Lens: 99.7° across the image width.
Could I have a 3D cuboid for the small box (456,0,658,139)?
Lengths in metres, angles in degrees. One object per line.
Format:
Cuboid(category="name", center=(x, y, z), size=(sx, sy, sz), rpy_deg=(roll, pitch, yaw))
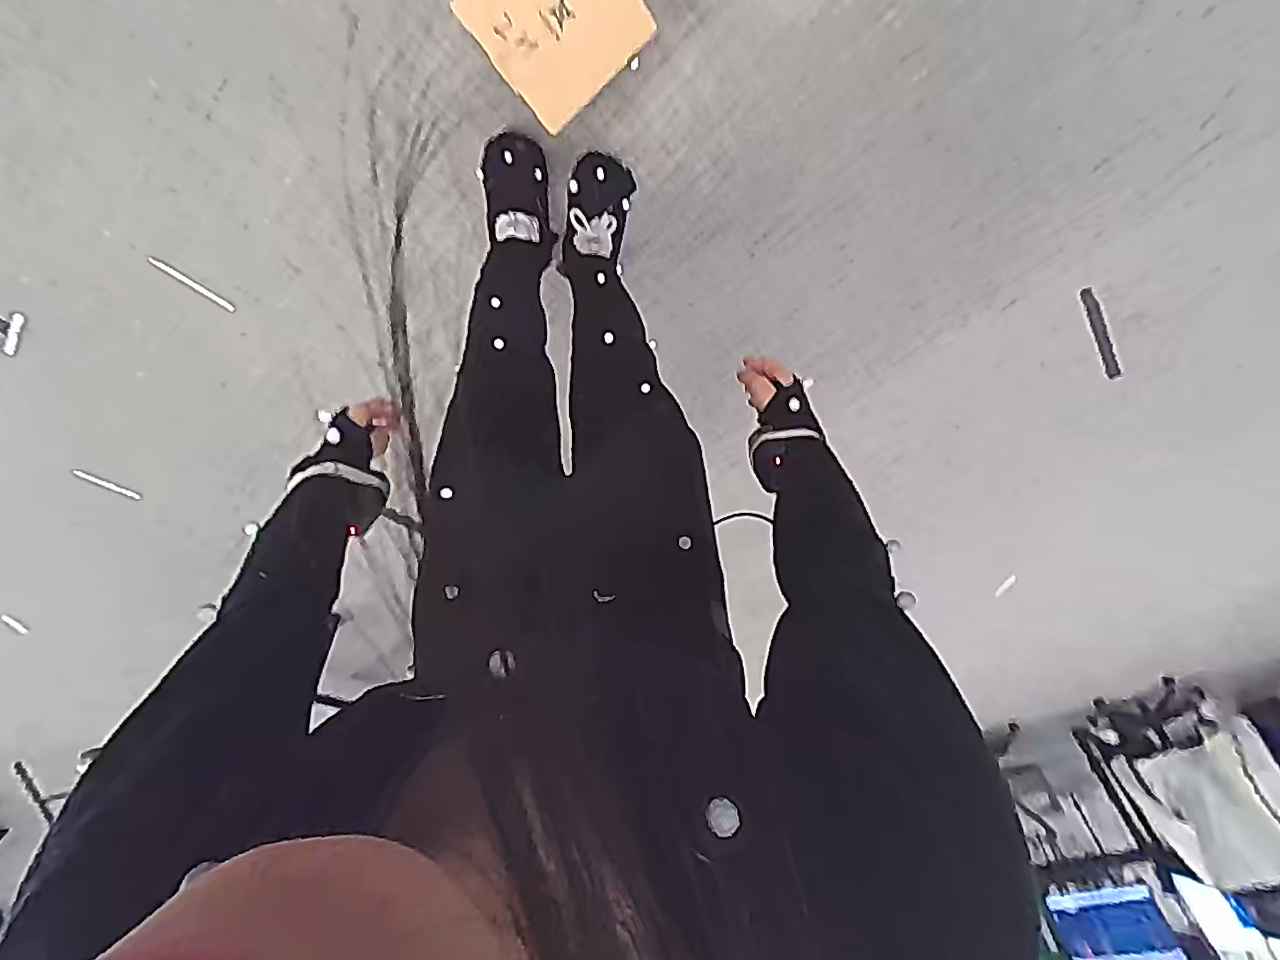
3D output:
Cuboid(category="small box", center=(-0.099, -0.580, 0.674), size=(0.179, 0.176, 0.168), rpy_deg=(-30, 131, 25))
